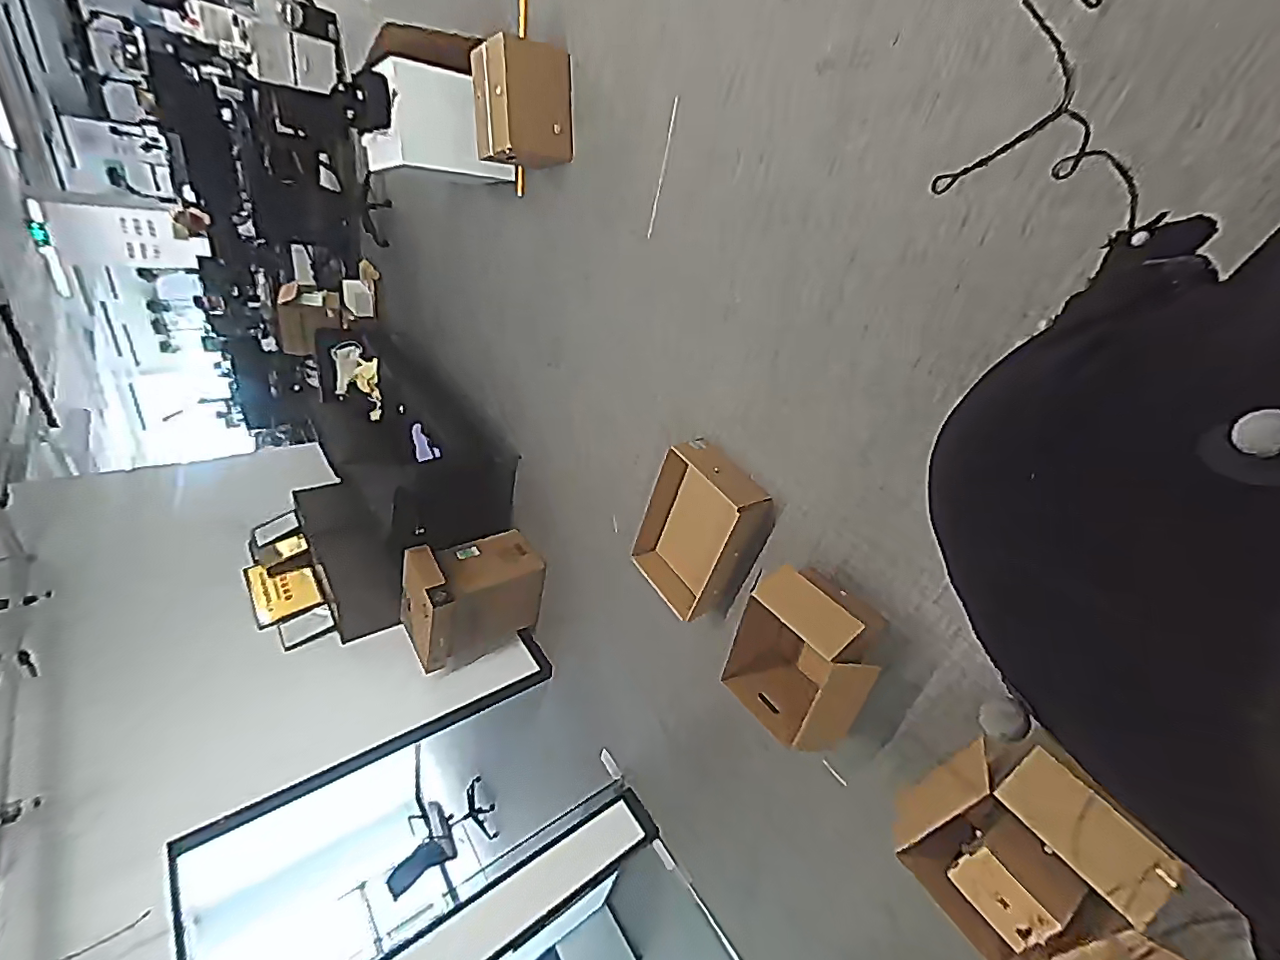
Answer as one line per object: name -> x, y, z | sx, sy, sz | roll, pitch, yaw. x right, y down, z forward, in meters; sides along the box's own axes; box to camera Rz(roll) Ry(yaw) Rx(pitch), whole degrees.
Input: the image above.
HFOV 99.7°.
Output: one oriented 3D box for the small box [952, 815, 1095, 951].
small box -> 0.866, 0.900, 1.225 | 0.179, 0.176, 0.168 | 48, 137, 37
